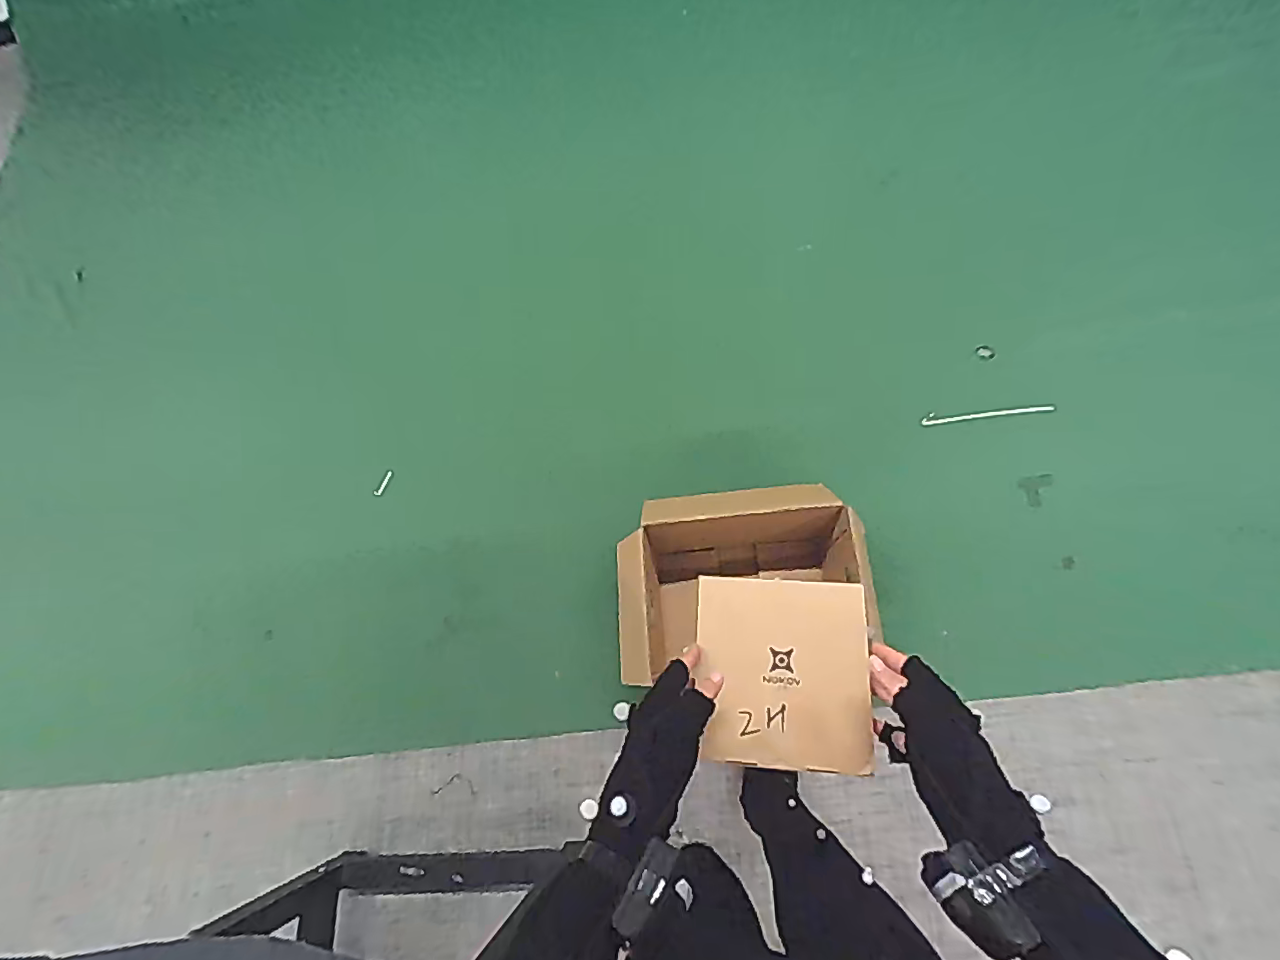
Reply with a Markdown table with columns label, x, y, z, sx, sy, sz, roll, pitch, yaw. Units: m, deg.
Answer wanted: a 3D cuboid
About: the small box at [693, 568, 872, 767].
| label | x | y | z | sx | sy | sz | roll | pitch | yaw |
| --- | --- | --- | --- | --- | --- | --- | --- | --- | --- |
| small box | 0.148 | 0.202 | 0.603 | 0.168 | 0.176 | 0.179 | 1 | 72 | 10 |
